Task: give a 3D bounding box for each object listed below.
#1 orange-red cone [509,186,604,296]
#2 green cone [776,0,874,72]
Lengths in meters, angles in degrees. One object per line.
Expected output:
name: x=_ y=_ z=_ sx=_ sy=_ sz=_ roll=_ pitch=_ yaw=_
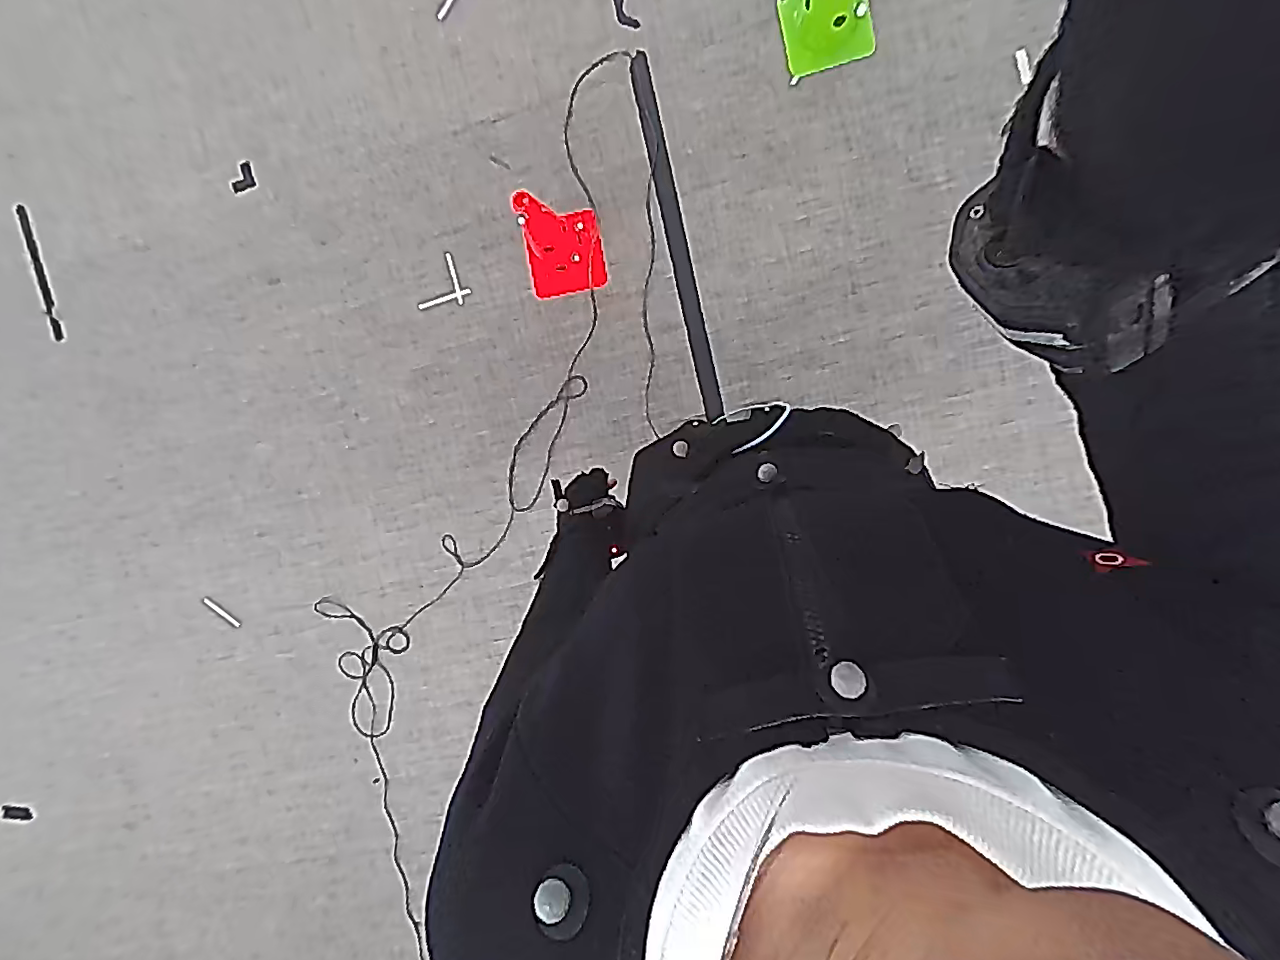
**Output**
orange-red cone: x=-0.220 y=-0.573 z=1.236 sx=0.199 sy=0.360 sz=0.198 roll=-8 pitch=94 yaw=9
green cone: x=0.417 y=-1.062 z=1.101 sx=0.202 sy=0.368 sz=0.200 roll=-13 pitch=95 yaw=7
